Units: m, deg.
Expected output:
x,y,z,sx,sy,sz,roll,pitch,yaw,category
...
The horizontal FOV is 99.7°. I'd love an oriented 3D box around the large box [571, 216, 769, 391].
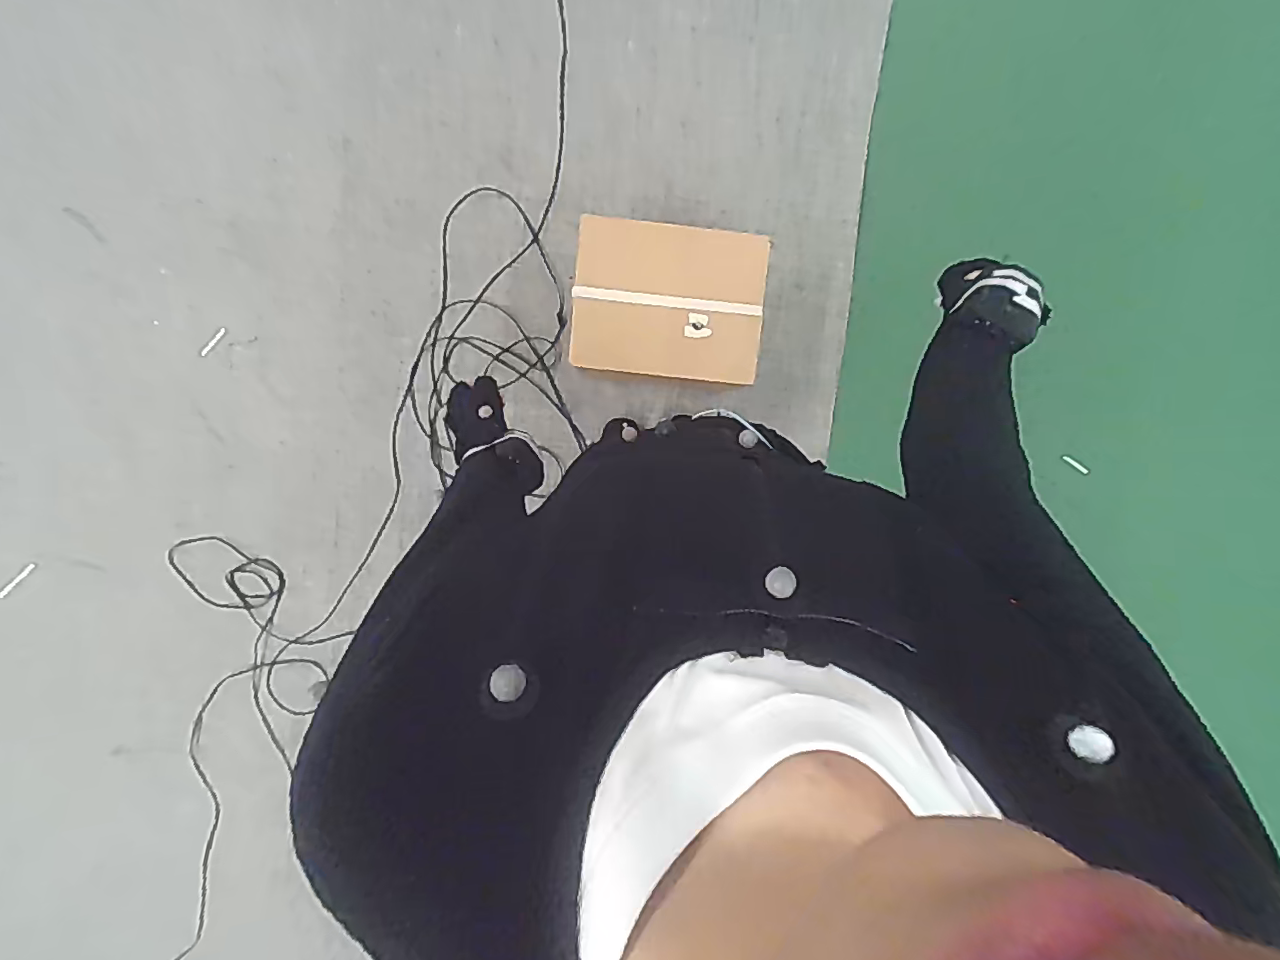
x,y,z,sx,sy,sz,roll,pitch,yaw,category
0.054,-0.394,1.290,0.408,0.320,0.320,6,96,-3,large box
